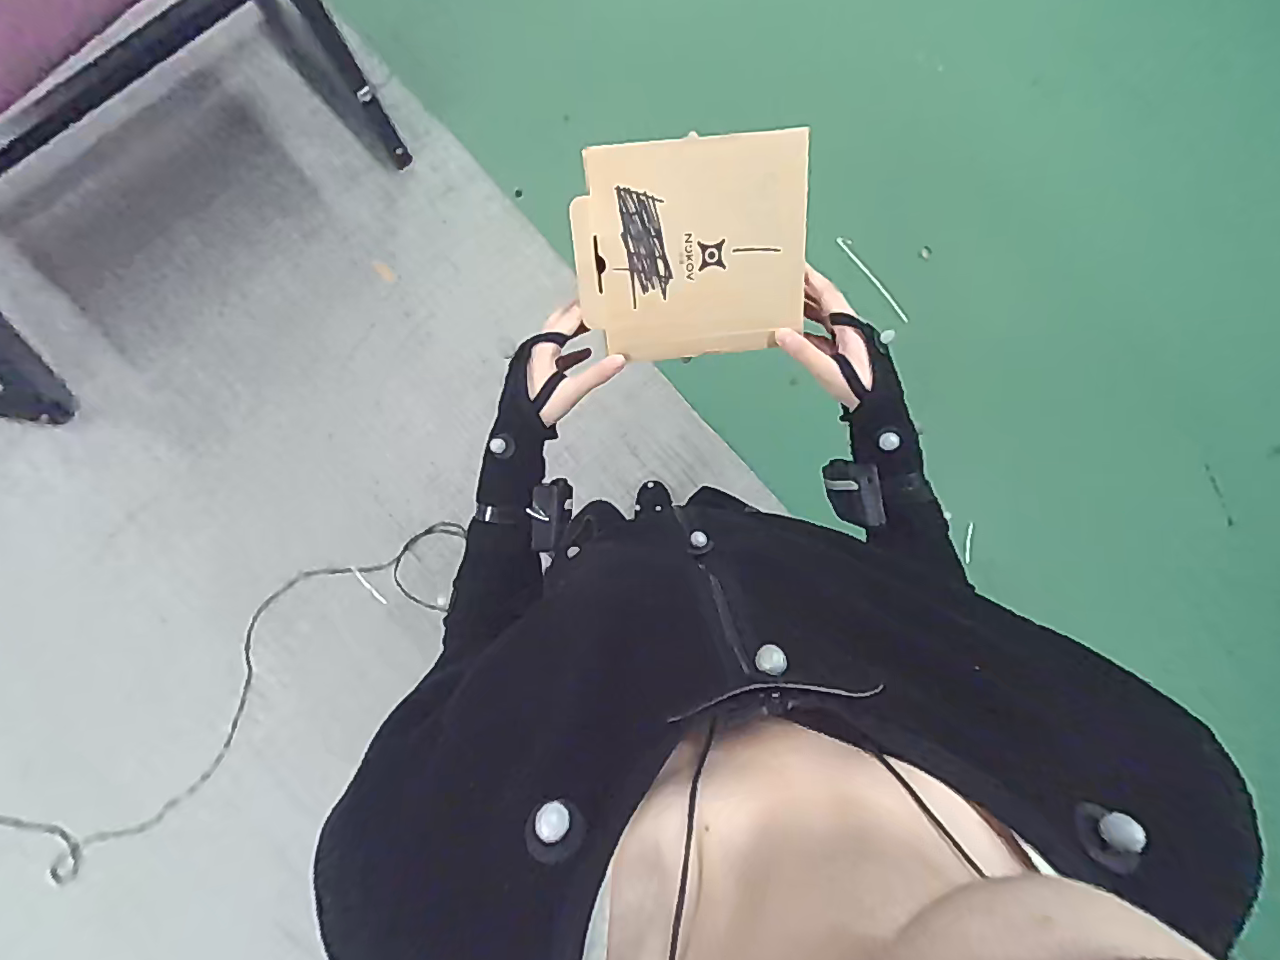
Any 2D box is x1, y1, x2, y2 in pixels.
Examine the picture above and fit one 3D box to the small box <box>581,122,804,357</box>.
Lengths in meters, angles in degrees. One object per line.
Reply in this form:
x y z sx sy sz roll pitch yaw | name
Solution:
0.045 -0.222 0.520 0.179 0.176 0.168 -8 114 0 | small box
